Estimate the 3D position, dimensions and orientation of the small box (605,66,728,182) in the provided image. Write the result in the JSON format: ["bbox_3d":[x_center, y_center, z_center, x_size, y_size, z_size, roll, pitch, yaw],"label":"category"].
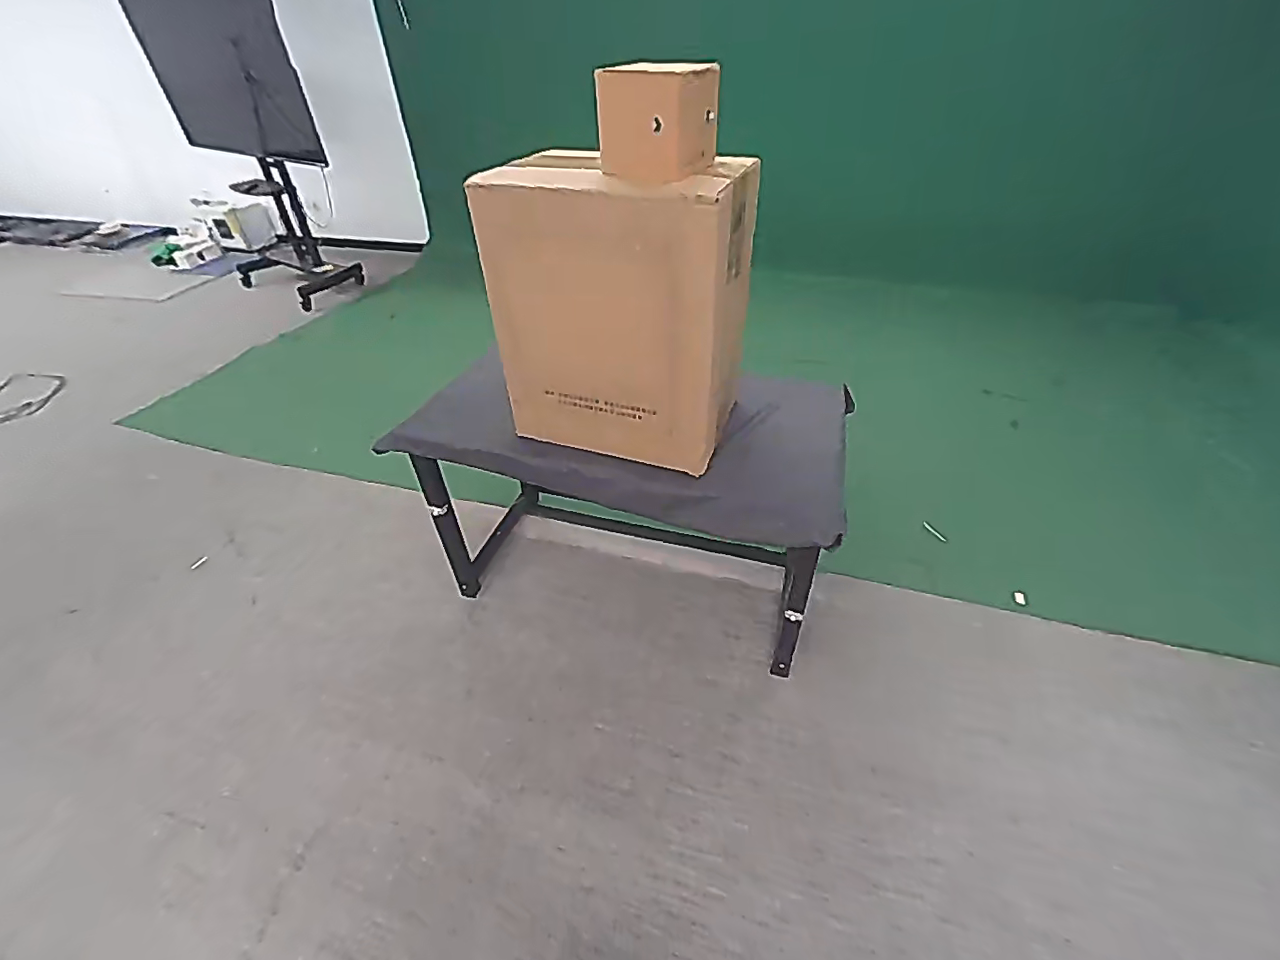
[{"bbox_3d":[0.053,-0.691,1.053,0.179,0.176,0.168,21,46,26],"label":"small box"}]
